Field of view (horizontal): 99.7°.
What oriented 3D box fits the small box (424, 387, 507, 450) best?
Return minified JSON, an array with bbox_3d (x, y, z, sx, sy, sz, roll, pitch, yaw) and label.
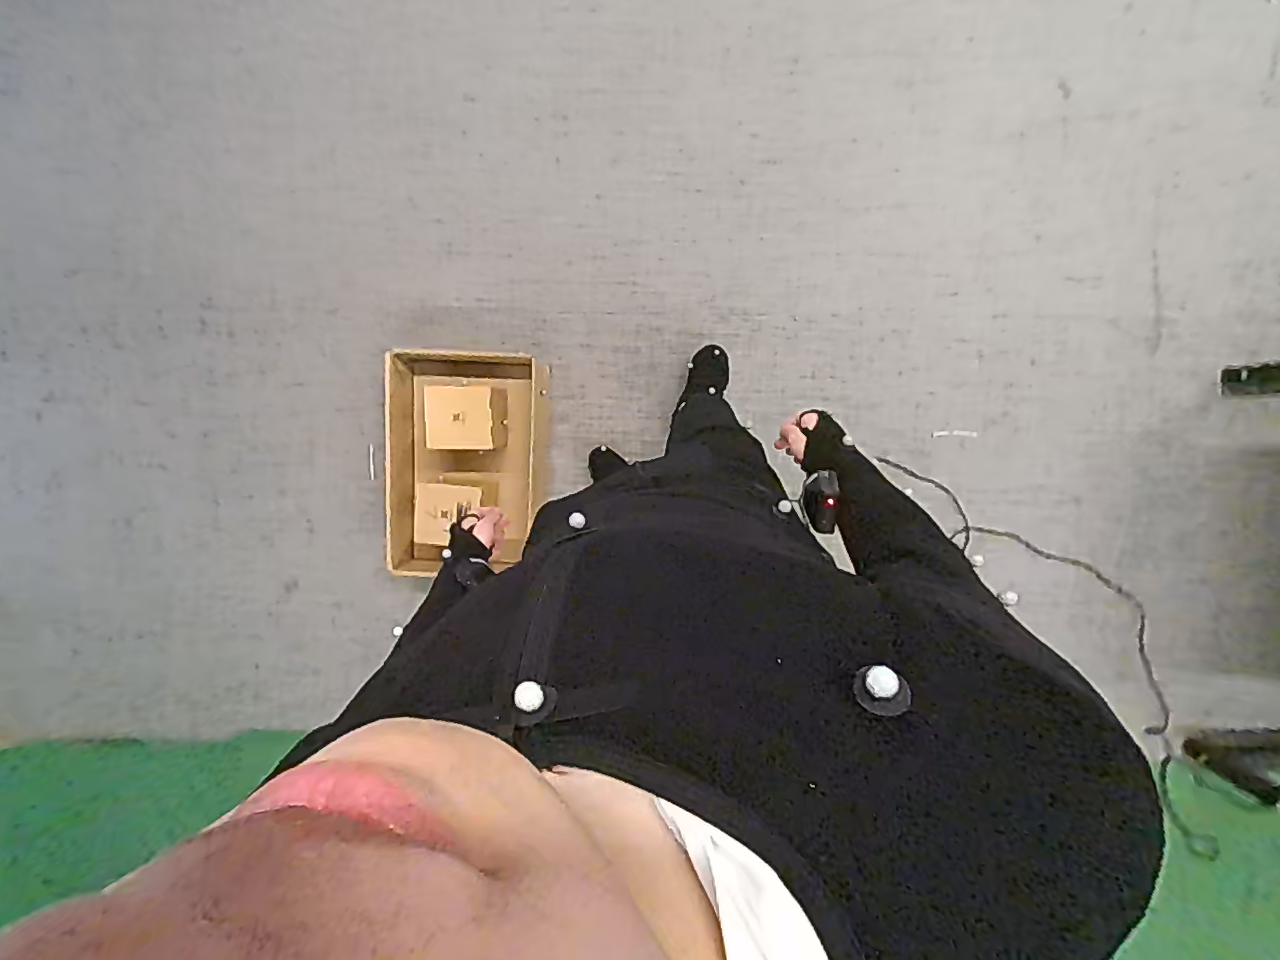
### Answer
[{"bbox_3d":[-0.475,-0.168,1.491,0.179,0.176,0.168,-1,96,0],"label":"small box"}]
